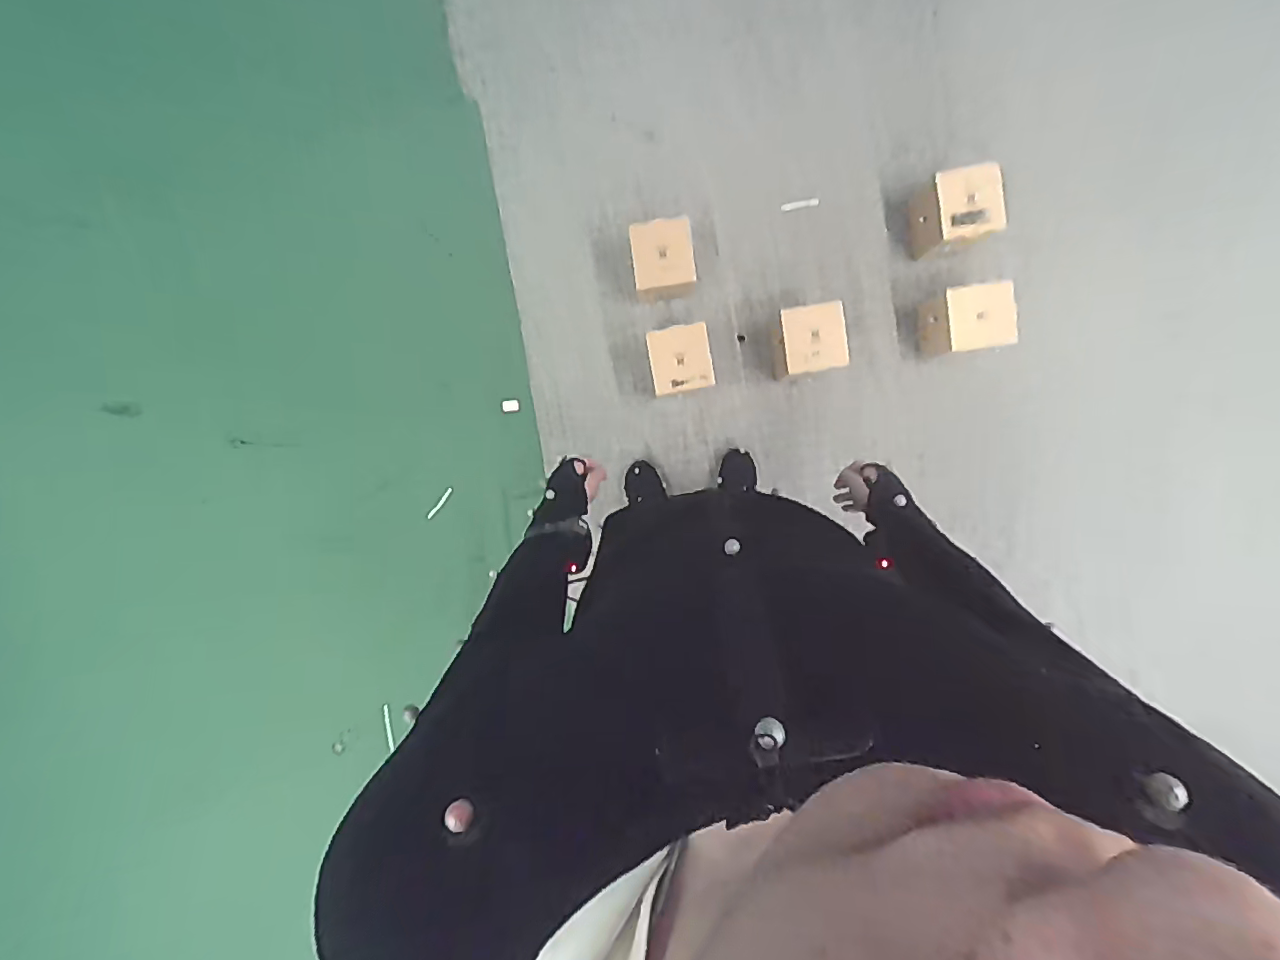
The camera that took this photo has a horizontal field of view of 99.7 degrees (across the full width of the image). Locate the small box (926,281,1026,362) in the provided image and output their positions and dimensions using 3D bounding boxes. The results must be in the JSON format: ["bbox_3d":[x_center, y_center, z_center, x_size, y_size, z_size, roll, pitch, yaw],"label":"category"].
[{"bbox_3d":[0.905,-0.426,1.477,0.179,0.176,0.168,-7,93,2],"label":"small box"}]

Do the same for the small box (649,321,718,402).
[{"bbox_3d":[0.120,-0.326,1.519,0.168,0.176,0.179,-9,91,4],"label":"small box"}]

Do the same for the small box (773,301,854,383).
[{"bbox_3d":[0.474,-0.376,1.499,0.168,0.176,0.179,-8,93,4],"label":"small box"}]
